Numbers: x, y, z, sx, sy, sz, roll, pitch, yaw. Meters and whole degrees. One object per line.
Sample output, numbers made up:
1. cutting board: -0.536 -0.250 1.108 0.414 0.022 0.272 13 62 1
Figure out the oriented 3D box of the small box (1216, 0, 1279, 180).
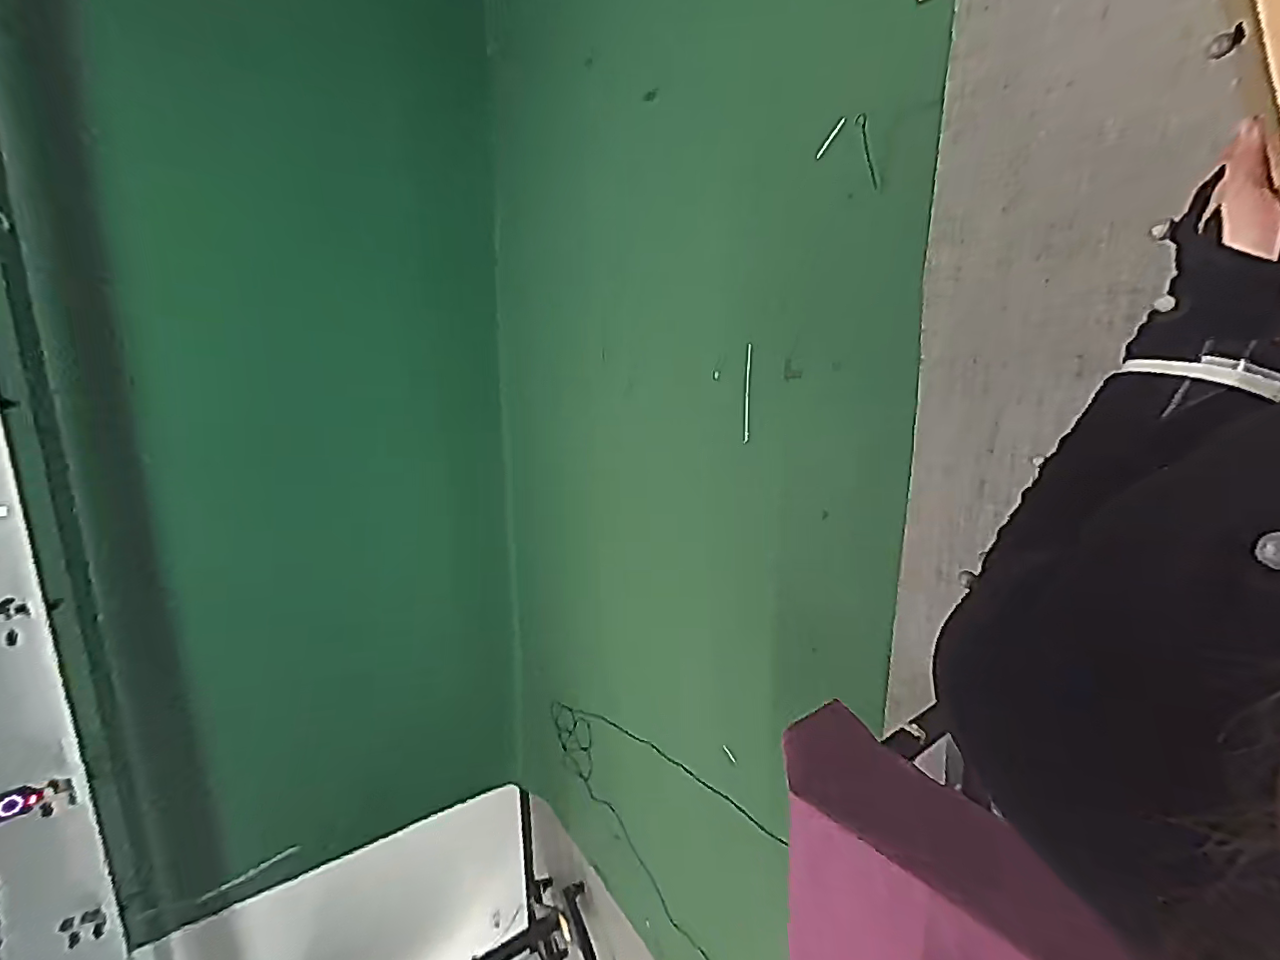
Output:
1. small box: 0.426 -0.282 0.277 0.168 0.176 0.179 -12 93 47
